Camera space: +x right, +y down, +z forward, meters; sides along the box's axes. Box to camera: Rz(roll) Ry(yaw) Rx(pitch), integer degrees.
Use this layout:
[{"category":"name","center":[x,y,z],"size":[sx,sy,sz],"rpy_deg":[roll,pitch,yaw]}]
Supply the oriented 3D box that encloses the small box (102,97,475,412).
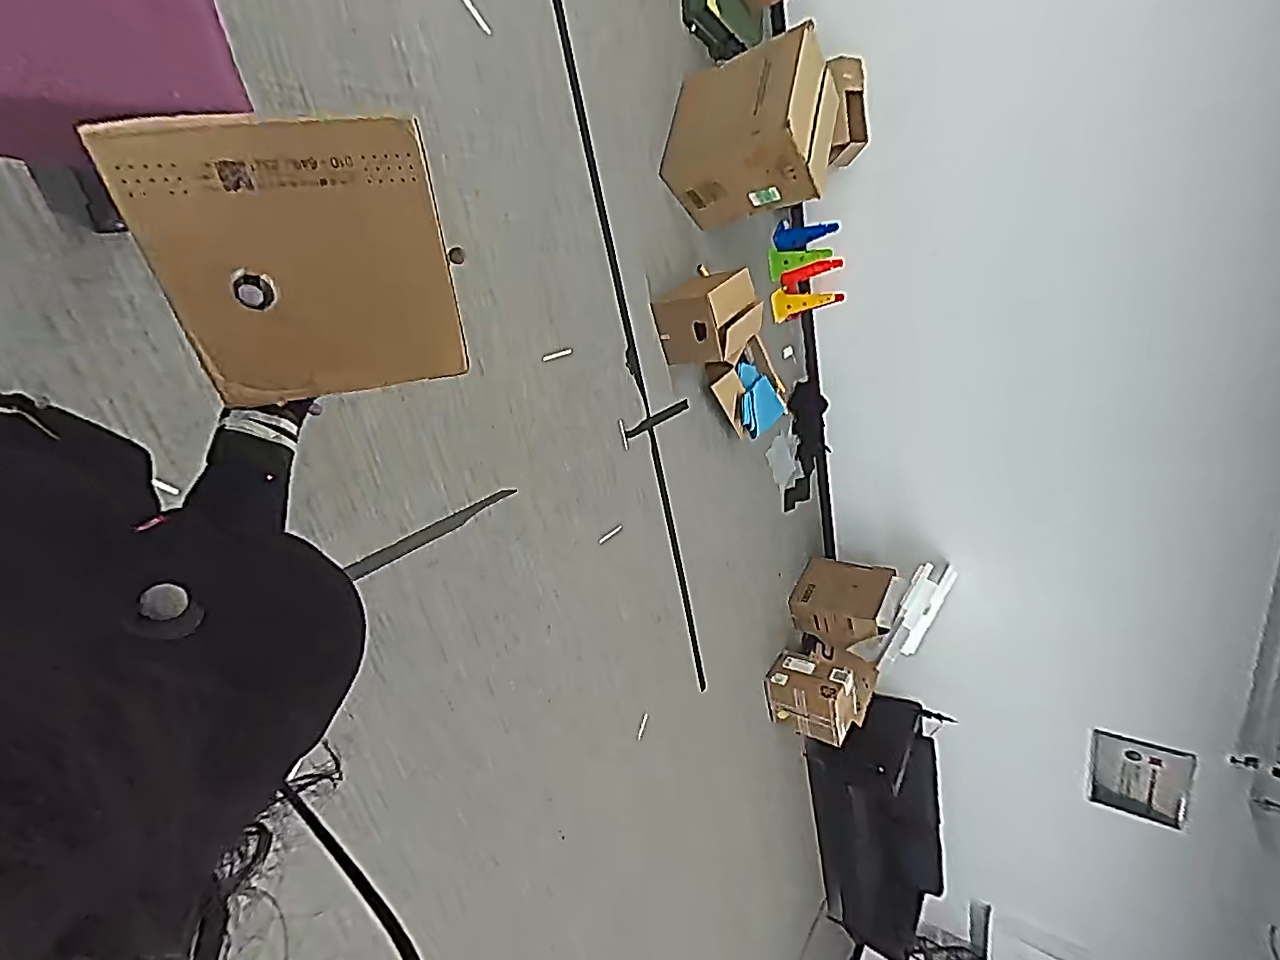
[{"category":"small box","center":[-0.230,-0.175,0.399],"size":[0.168,0.179,0.176],"rpy_deg":[-12,129,-17]}]
